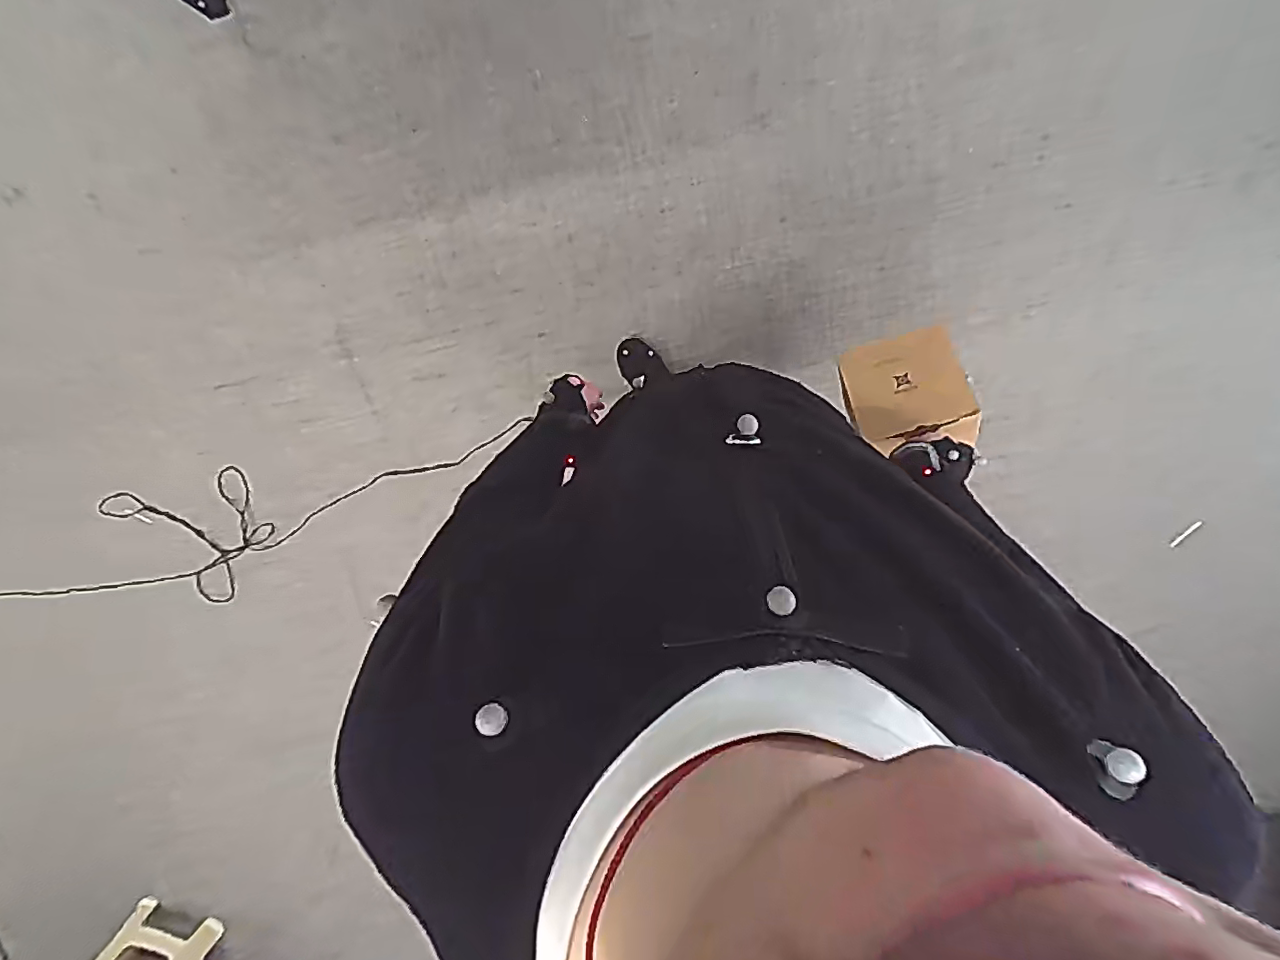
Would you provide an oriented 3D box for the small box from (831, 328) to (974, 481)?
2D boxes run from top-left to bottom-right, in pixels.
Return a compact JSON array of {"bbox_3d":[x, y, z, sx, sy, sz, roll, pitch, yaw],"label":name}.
[{"bbox_3d":[0.431,-0.113,0.902,0.168,0.176,0.179,-16,59,17],"label":"small box"}]
